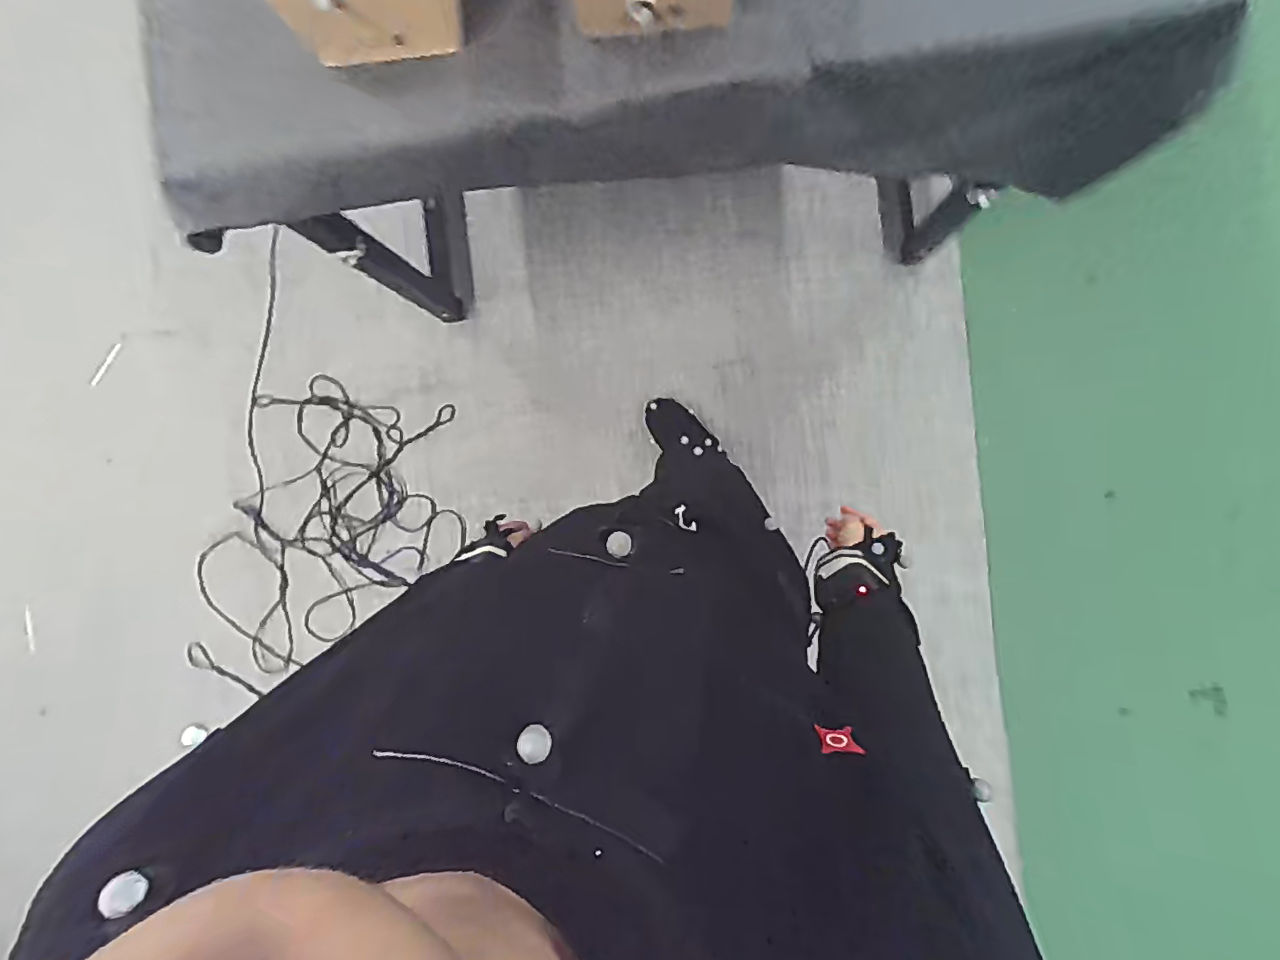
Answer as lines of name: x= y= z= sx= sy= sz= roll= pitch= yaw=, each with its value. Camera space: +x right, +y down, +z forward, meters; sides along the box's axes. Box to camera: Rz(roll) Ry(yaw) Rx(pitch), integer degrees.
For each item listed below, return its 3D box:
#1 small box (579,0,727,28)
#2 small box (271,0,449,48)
small box: x=0.003 y=-0.583 z=0.505 sx=0.168 sy=0.176 sz=0.179 roll=-4 pitch=91 yaw=6
small box: x=-0.301 y=-0.569 z=0.530 sx=0.168 sy=0.176 sz=0.179 roll=-4 pitch=90 yaw=5
